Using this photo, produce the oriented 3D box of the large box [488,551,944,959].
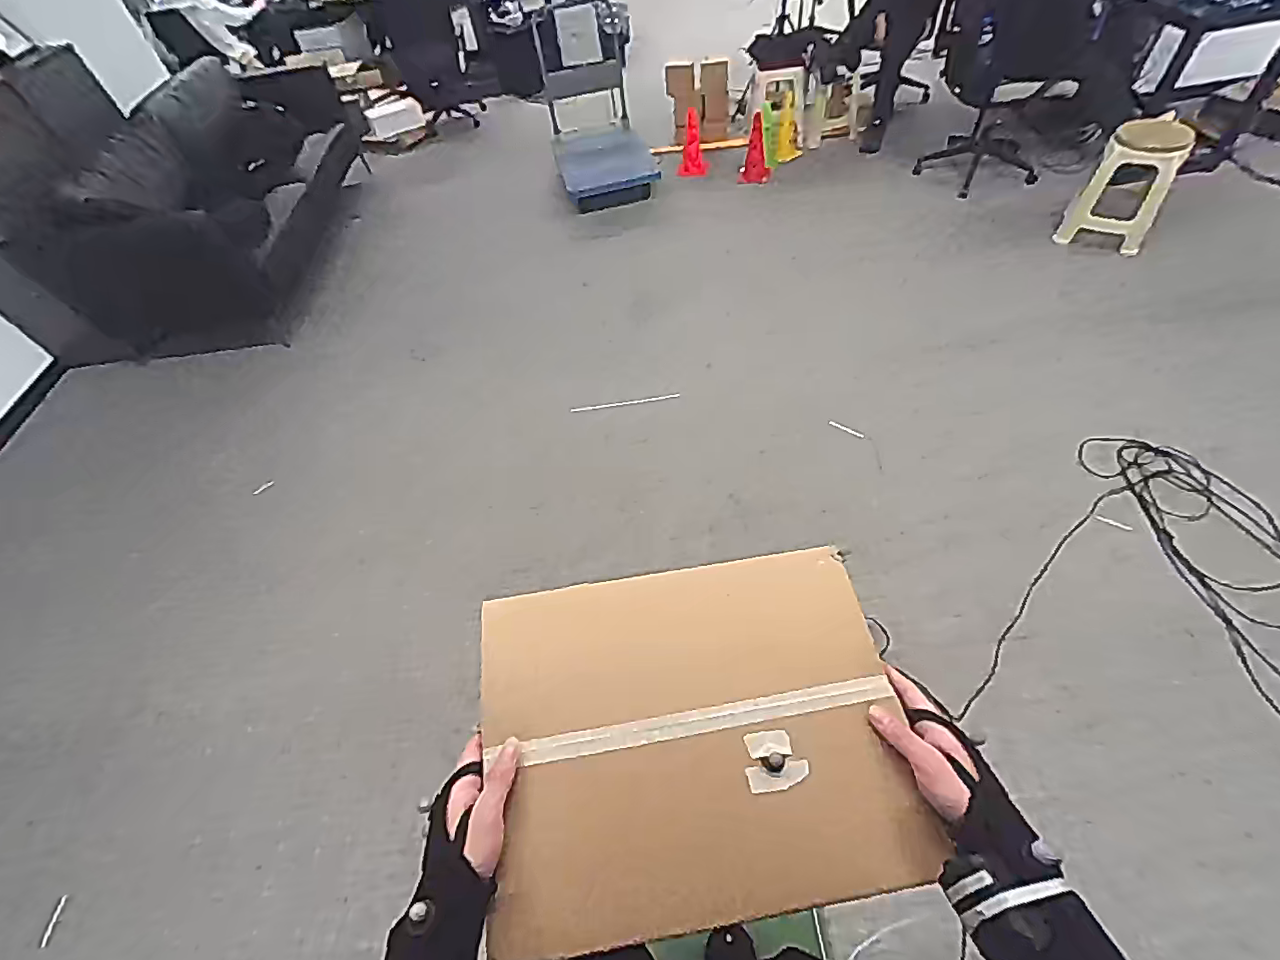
[{"bbox_3d":[0.052,0.320,0.664,0.408,0.320,0.320,-8,59,-5],"label":"large box"}]
